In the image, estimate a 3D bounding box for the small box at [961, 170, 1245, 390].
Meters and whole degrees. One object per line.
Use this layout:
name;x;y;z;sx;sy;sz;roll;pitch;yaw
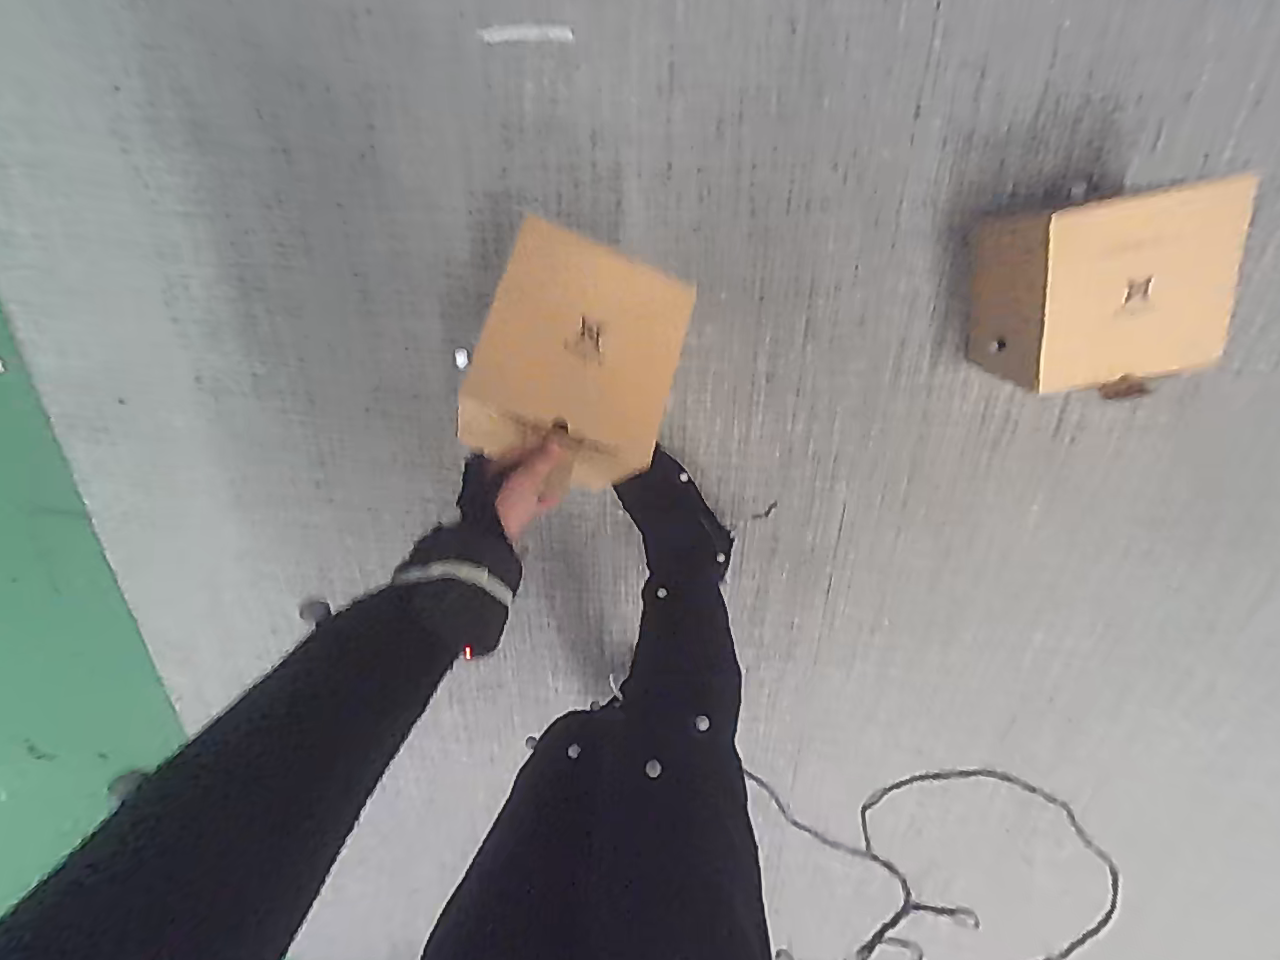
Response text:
small box;0.474;-0.214;0.589;0.168;0.176;0.179;-9;111;10

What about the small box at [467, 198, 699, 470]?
small box;-0.066;-0.123;0.532;0.168;0.176;0.179;18;78;-16
